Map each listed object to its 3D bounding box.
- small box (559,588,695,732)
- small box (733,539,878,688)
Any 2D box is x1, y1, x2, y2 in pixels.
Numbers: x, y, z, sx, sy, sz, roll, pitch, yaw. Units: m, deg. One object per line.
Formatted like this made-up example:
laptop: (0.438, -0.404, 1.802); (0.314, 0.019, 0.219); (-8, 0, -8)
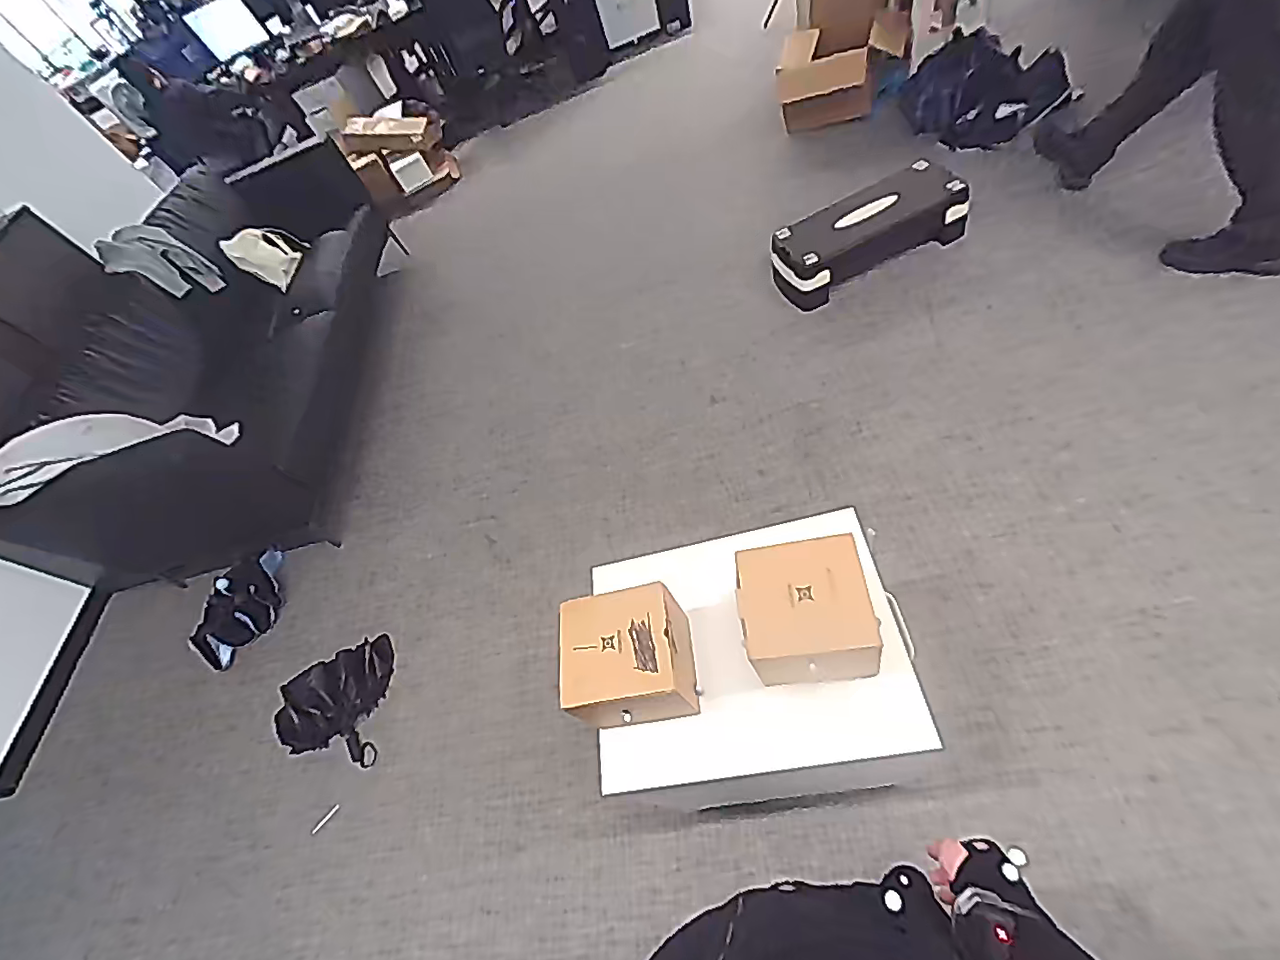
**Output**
small box: (-0.016, 0.294, 0.866); (0.179, 0.176, 0.168); (-15, 53, 12)
small box: (0.249, 0.210, 0.821); (0.179, 0.176, 0.168); (-11, 56, 14)
